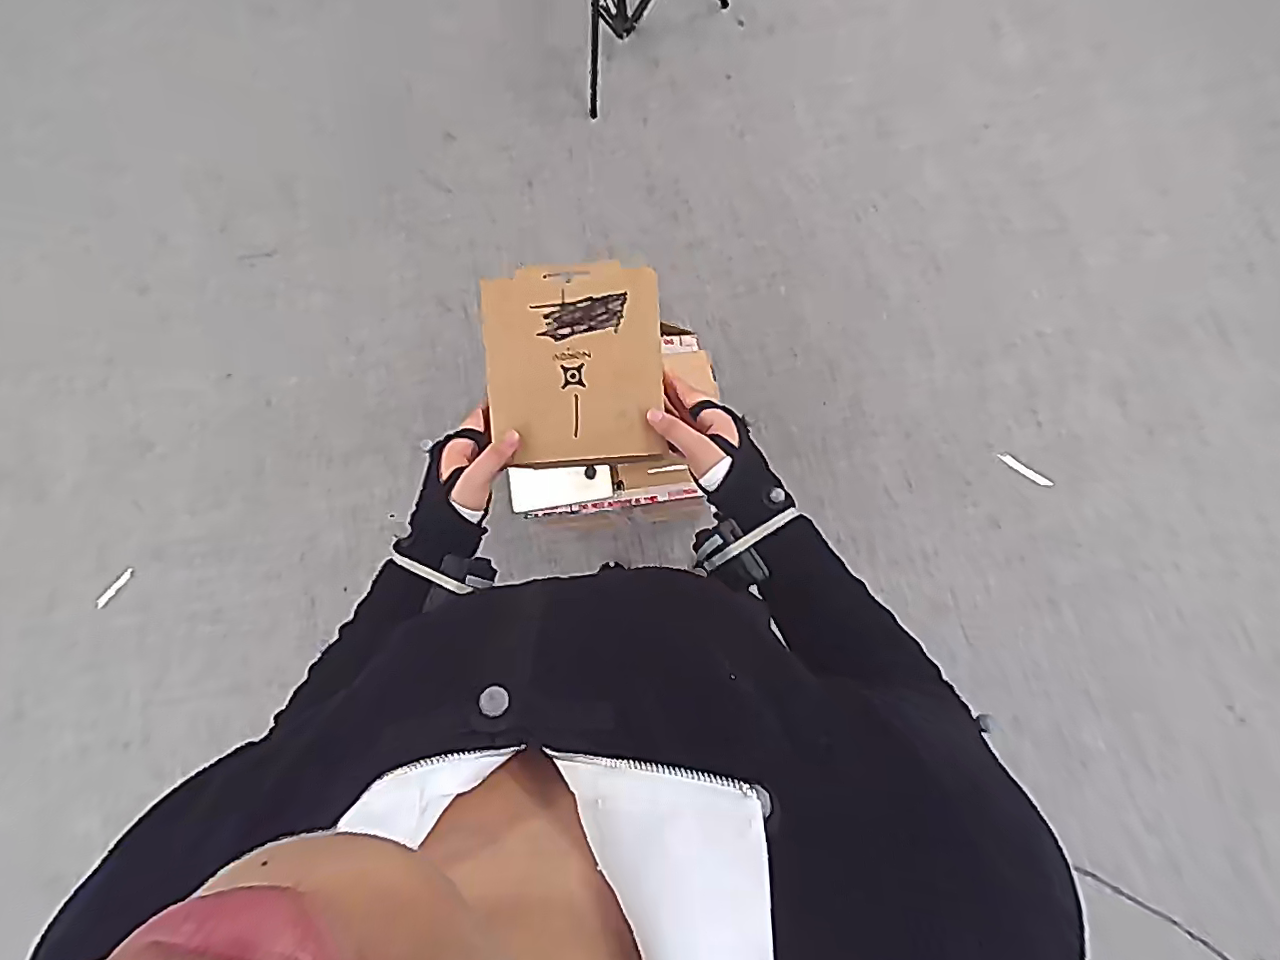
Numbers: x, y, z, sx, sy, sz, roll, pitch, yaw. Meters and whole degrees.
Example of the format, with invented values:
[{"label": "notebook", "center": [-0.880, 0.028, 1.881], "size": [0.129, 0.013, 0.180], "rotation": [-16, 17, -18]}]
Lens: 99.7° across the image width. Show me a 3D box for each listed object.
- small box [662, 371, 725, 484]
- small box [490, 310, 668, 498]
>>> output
[{"label": "small box", "center": [0.045, -0.083, 0.998], "size": [0.179, 0.176, 0.168], "rotation": [-11, 82, 0]}, {"label": "small box", "center": [-0.058, -0.072, 0.597], "size": [0.168, 0.176, 0.179], "rotation": [-4, 90, 2]}]
